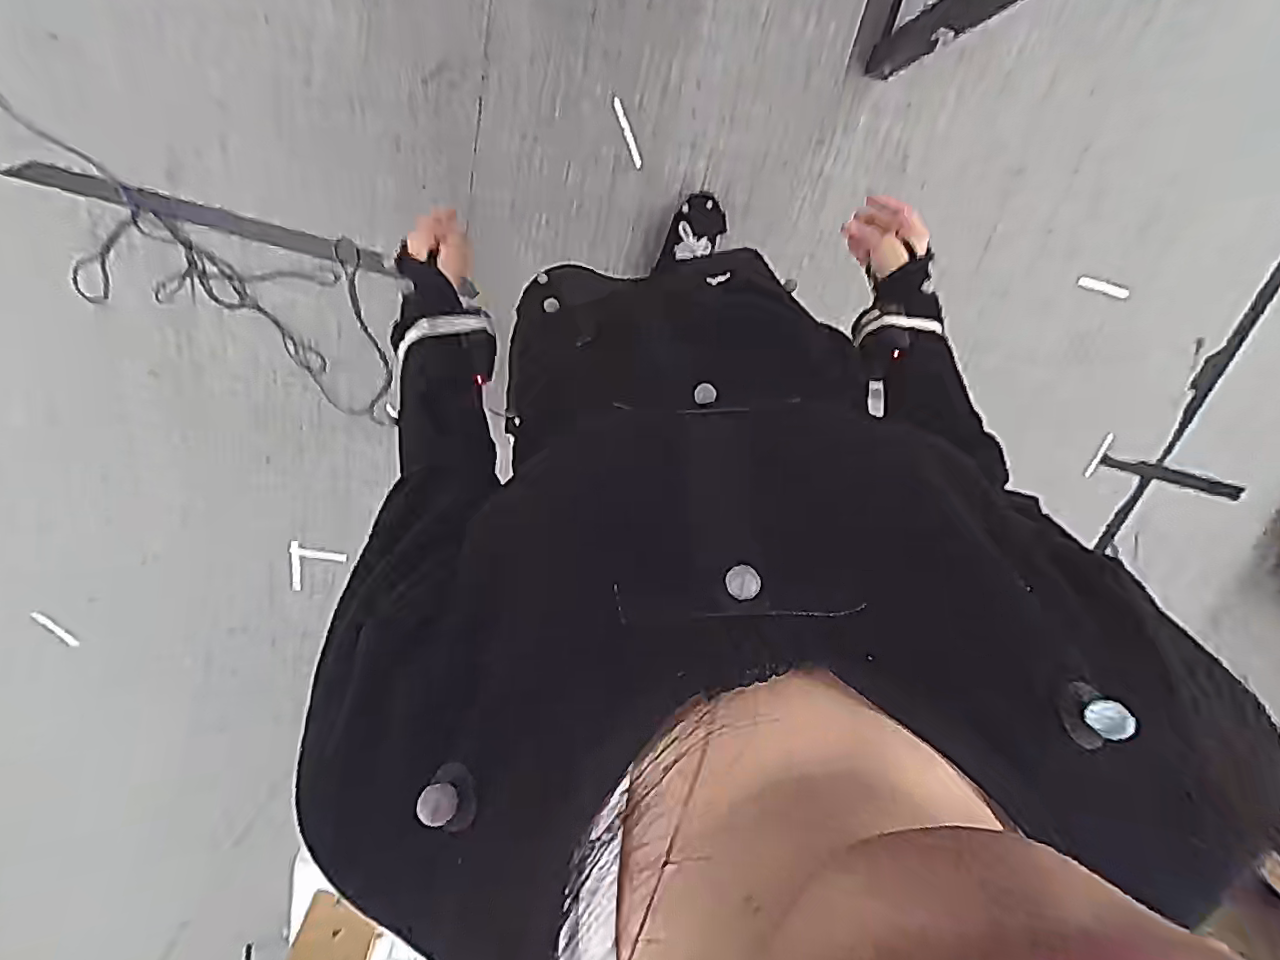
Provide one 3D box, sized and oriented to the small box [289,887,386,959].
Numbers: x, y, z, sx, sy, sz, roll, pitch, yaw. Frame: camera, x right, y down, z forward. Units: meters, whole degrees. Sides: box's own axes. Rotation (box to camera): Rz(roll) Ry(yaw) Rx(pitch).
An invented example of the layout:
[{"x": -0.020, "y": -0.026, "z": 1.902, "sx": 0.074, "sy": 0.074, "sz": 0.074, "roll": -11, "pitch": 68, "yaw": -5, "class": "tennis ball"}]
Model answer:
[{"x": -0.712, "y": 1.097, "z": 1.266, "sx": 0.168, "sy": 0.176, "sz": 0.179, "roll": 14, "pitch": 112, "yaw": -10, "class": "small box"}]
